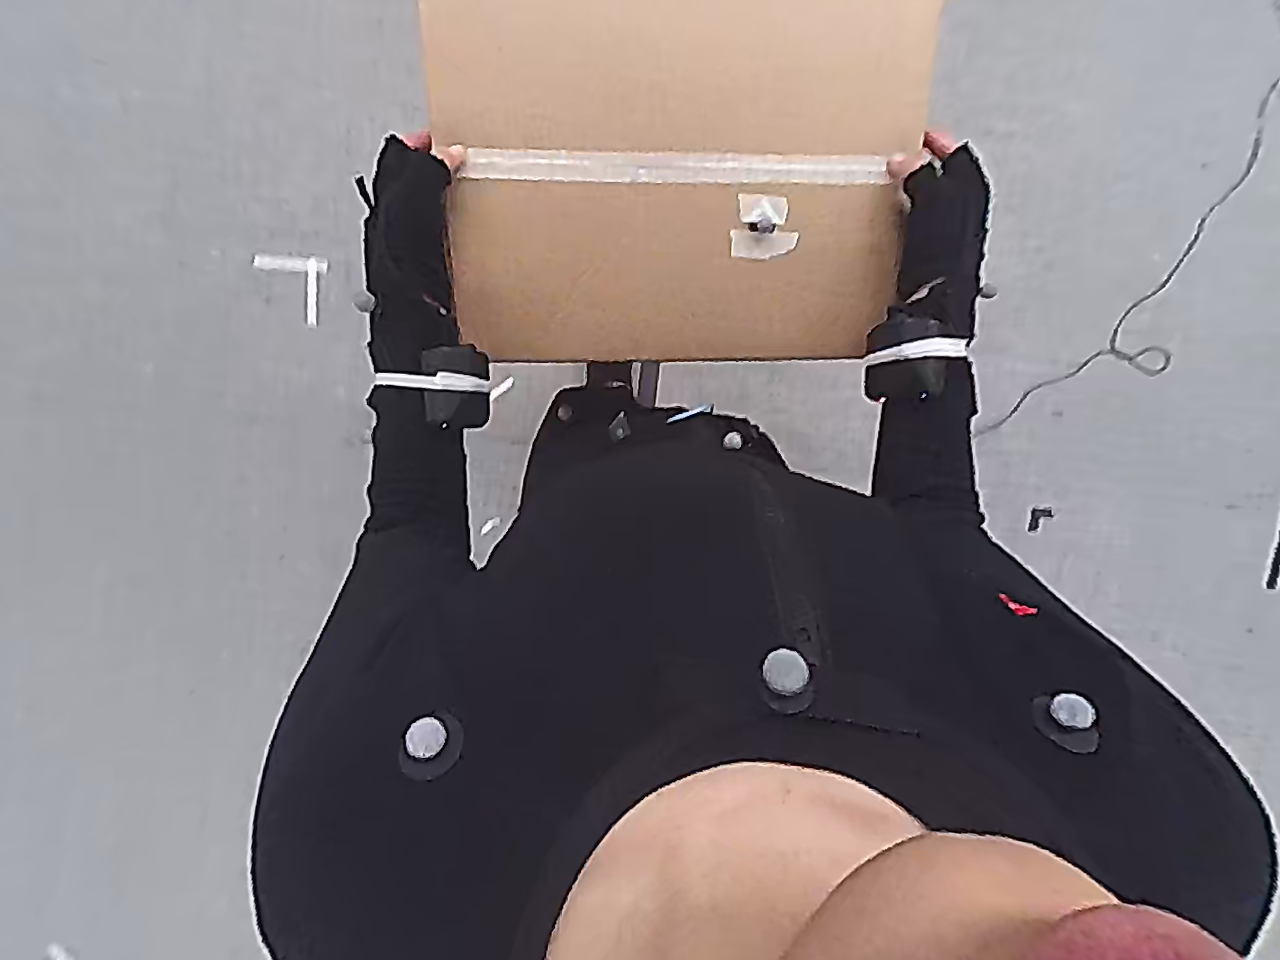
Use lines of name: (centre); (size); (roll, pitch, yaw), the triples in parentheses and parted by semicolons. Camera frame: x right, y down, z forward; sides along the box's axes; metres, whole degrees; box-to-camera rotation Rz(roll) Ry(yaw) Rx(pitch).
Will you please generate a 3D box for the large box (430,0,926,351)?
large box: (0.021, -0.318, 0.600); (0.408, 0.320, 0.320); (-2, 109, -6)
